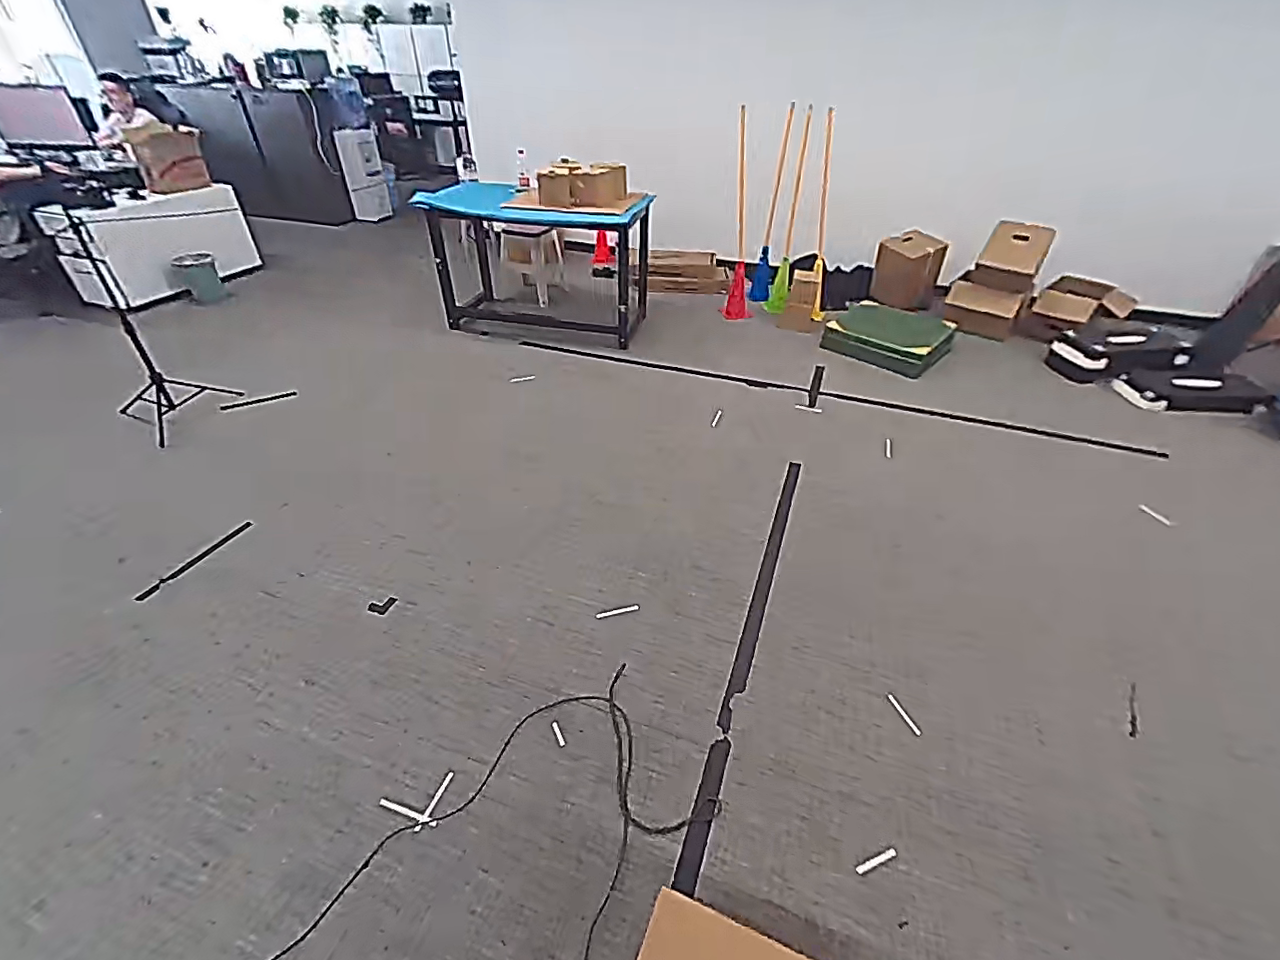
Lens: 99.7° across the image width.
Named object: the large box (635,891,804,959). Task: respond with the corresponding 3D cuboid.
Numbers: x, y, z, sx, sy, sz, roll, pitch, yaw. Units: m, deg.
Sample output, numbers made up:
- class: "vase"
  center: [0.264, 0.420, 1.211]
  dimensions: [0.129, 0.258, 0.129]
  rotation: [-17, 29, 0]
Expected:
- class: "large box"
  center: [0.151, 0.946, 0.840]
  dimensions: [0.408, 0.320, 0.320]
  rotation: [16, 40, 17]
